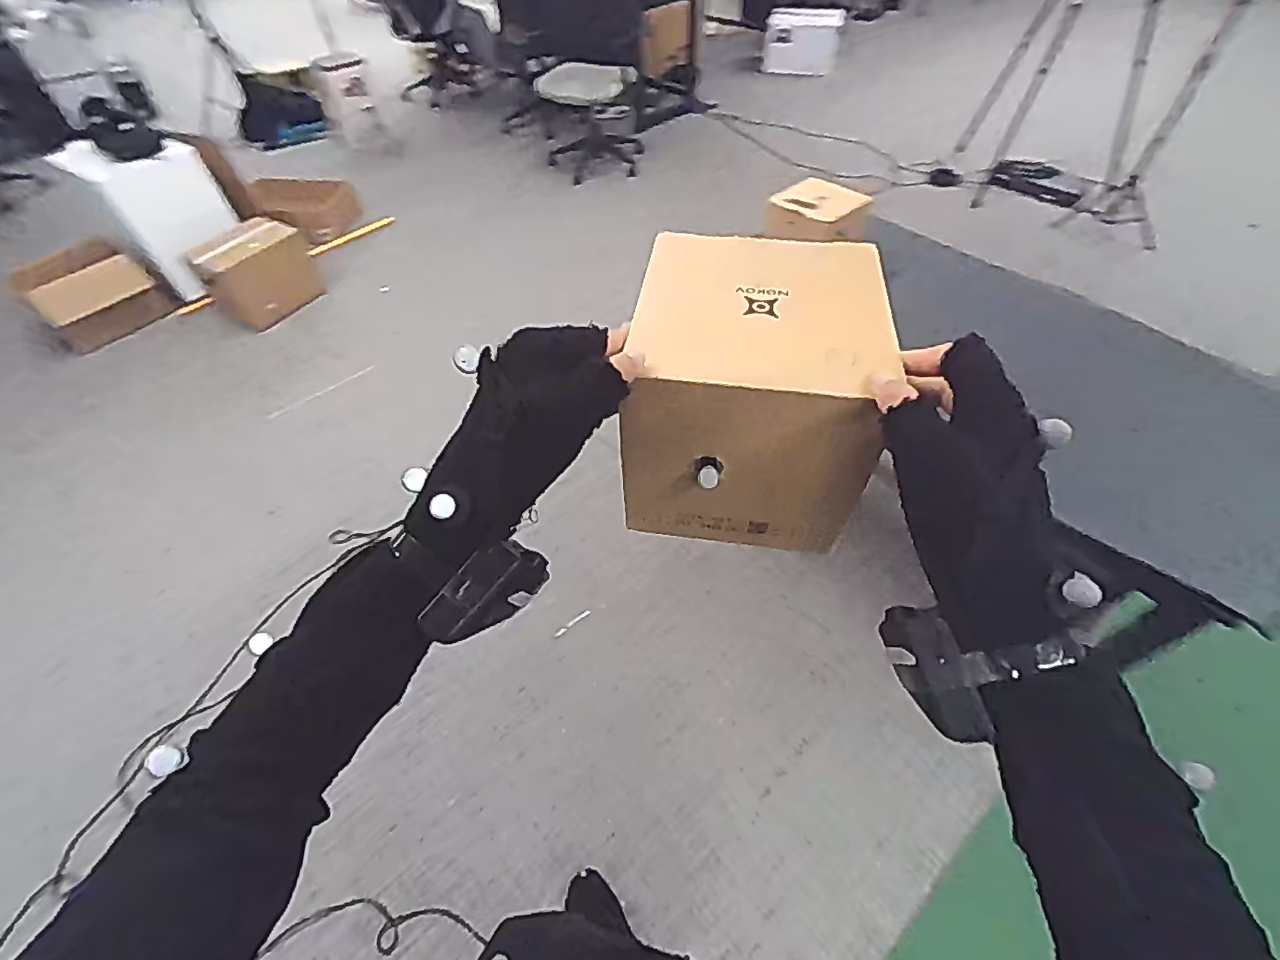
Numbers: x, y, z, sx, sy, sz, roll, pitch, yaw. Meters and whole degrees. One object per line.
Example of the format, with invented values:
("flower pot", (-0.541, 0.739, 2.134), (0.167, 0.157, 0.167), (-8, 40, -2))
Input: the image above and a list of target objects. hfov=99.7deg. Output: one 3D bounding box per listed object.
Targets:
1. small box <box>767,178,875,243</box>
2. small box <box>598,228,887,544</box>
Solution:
("small box", (0.415, -0.579, 1.279), (0.179, 0.176, 0.168), (-35, 58, -24))
("small box", (0.070, -0.069, 0.416), (0.168, 0.176, 0.179), (6, 50, 6))
